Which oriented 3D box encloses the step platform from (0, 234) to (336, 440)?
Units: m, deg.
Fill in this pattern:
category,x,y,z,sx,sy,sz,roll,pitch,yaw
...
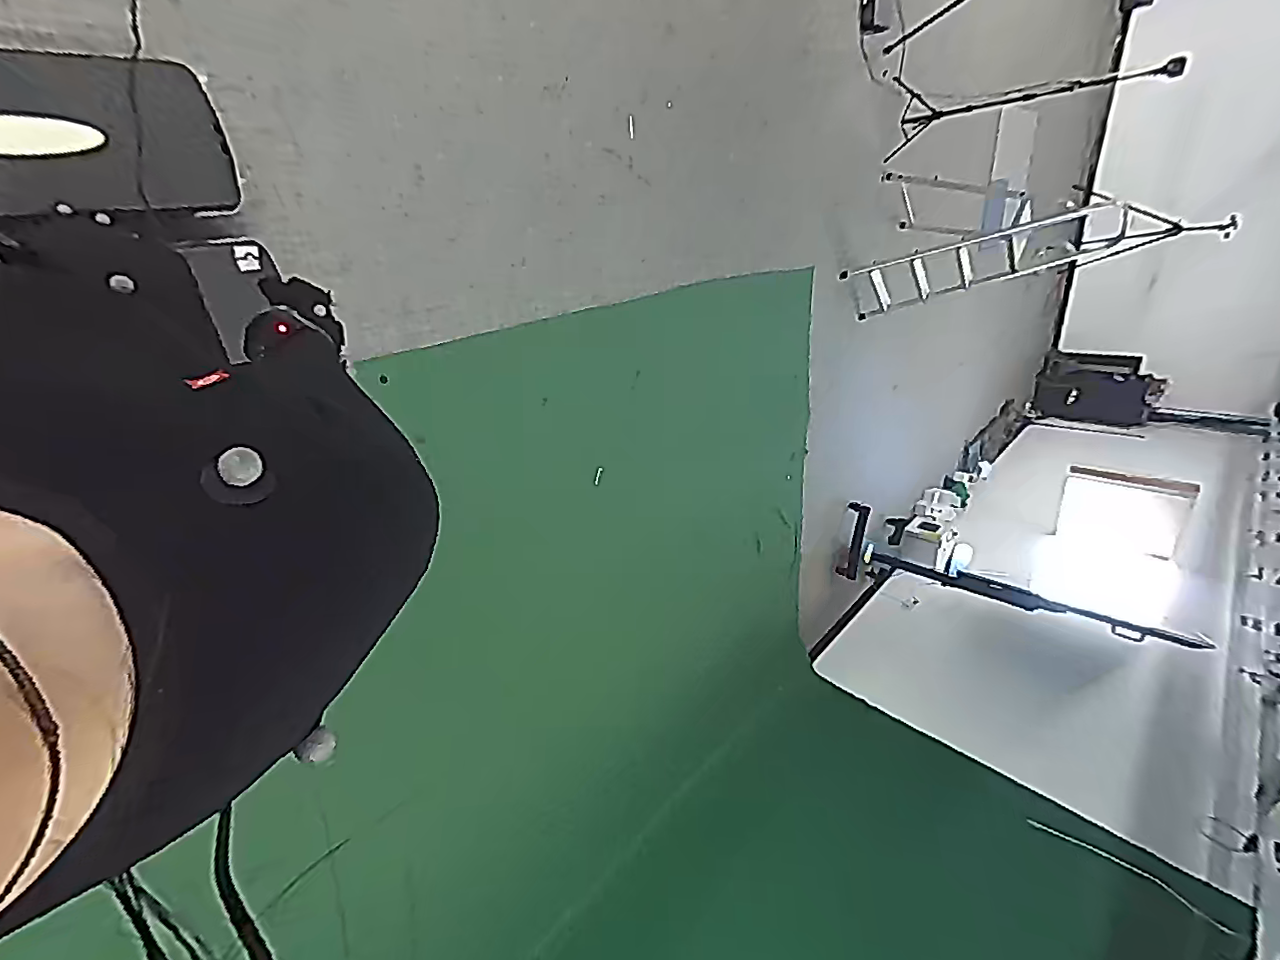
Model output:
category,x,y,z,sx,sy,sz,roll,pitch,yaw
step platform,-0.968,-0.266,0.993,0.684,0.204,0.286,-28,123,-38
